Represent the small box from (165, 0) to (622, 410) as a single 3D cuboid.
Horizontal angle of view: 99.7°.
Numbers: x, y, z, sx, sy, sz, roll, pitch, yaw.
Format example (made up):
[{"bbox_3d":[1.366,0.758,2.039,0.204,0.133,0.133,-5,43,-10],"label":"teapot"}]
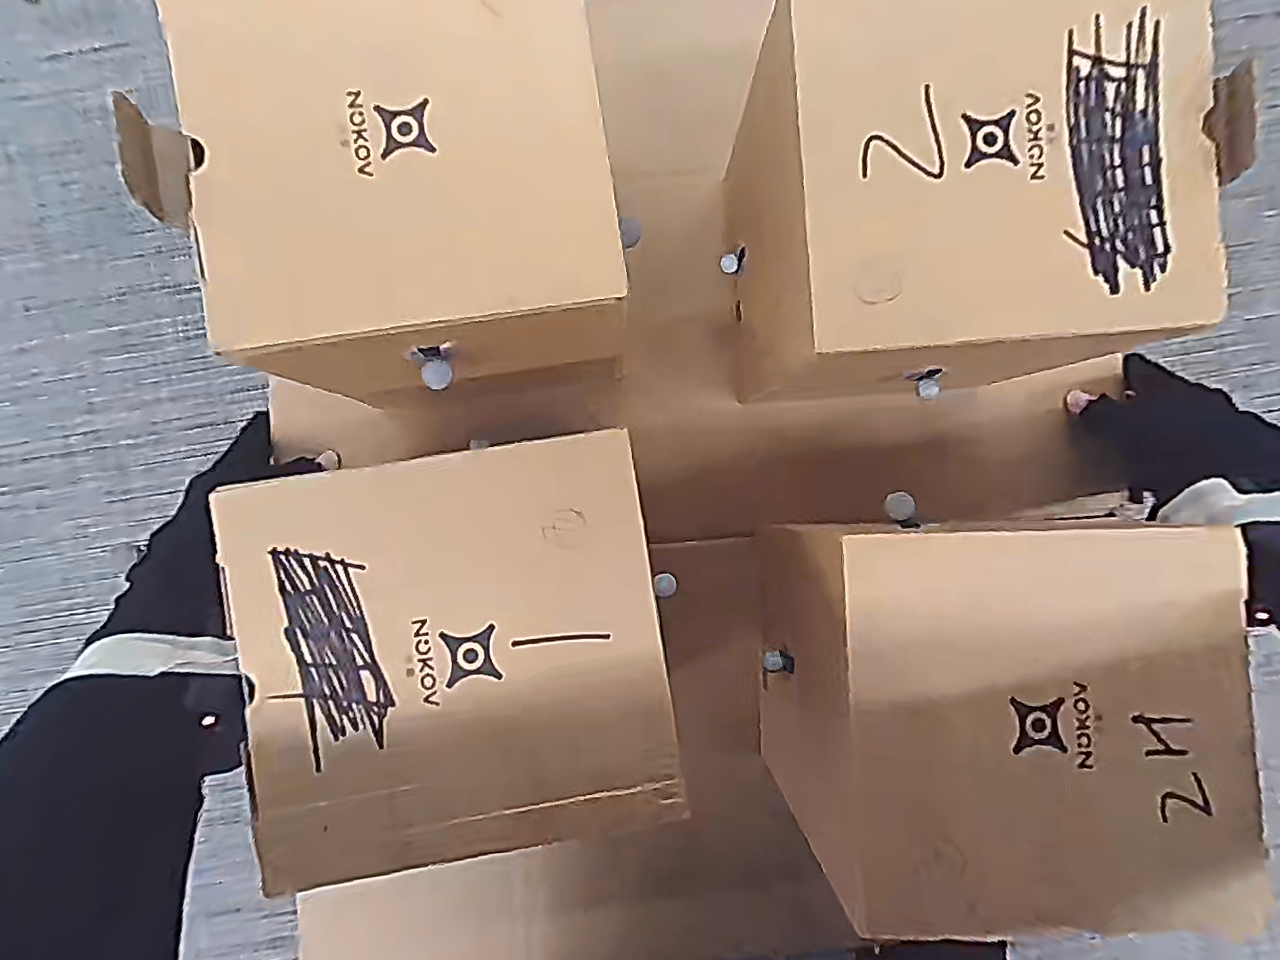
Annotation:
[{"bbox_3d":[-0.107,-0.141,0.313,0.179,0.176,0.168,-9,90,0],"label":"small box"}]
